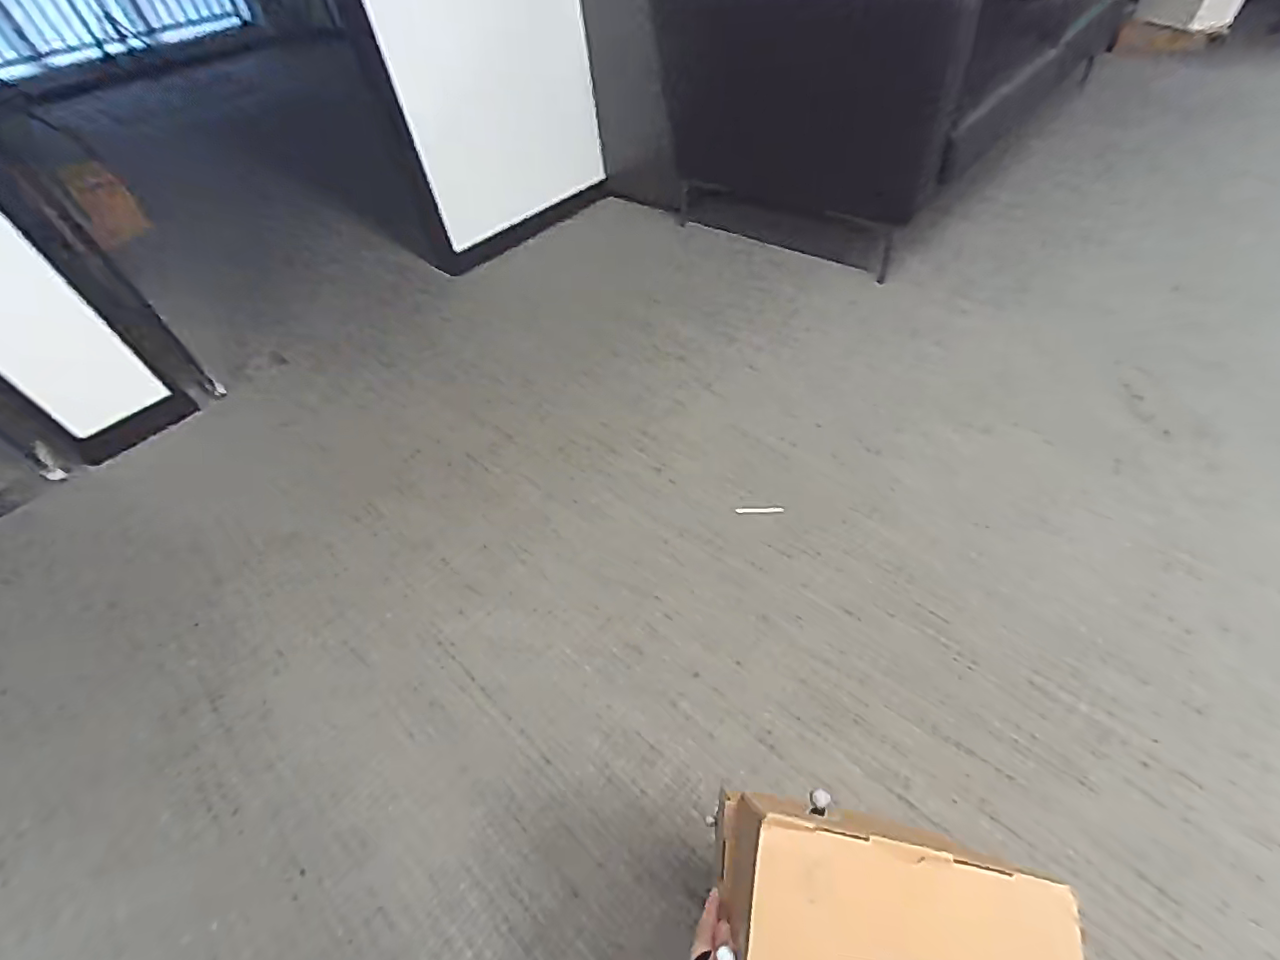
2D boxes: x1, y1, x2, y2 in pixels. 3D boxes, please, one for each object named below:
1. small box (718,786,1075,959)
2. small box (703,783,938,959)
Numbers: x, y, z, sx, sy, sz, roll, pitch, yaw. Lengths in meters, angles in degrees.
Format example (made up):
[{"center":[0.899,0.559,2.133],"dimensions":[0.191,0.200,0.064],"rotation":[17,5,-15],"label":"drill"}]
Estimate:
[{"center":[0.137,0.310,0.340],"dimensions":[0.168,0.176,0.179],"rotation":[8,66,11],"label":"small box"},{"center":[0.151,0.380,0.486],"dimensions":[0.179,0.176,0.168],"rotation":[6,65,8],"label":"small box"}]
